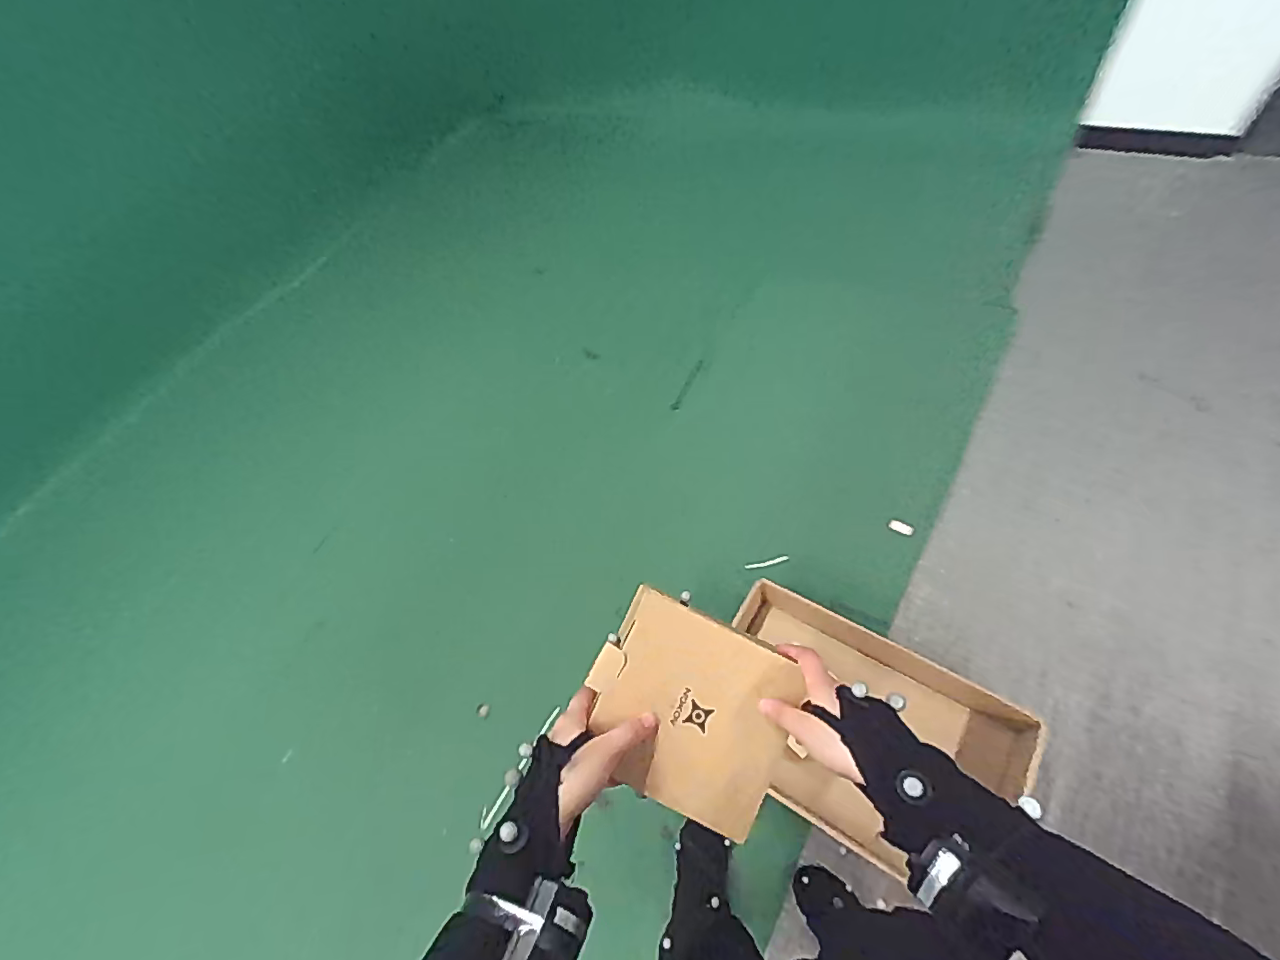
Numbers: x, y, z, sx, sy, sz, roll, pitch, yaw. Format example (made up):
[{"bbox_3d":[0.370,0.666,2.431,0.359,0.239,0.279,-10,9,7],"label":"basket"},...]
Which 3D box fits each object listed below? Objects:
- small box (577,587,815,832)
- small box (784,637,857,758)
[{"bbox_3d":[0.051,0.220,0.575,0.179,0.176,0.168,24,81,2],"label":"small box"},{"bbox_3d":[0.345,0.483,1.195,0.179,0.176,0.168,-41,60,-13],"label":"small box"}]
